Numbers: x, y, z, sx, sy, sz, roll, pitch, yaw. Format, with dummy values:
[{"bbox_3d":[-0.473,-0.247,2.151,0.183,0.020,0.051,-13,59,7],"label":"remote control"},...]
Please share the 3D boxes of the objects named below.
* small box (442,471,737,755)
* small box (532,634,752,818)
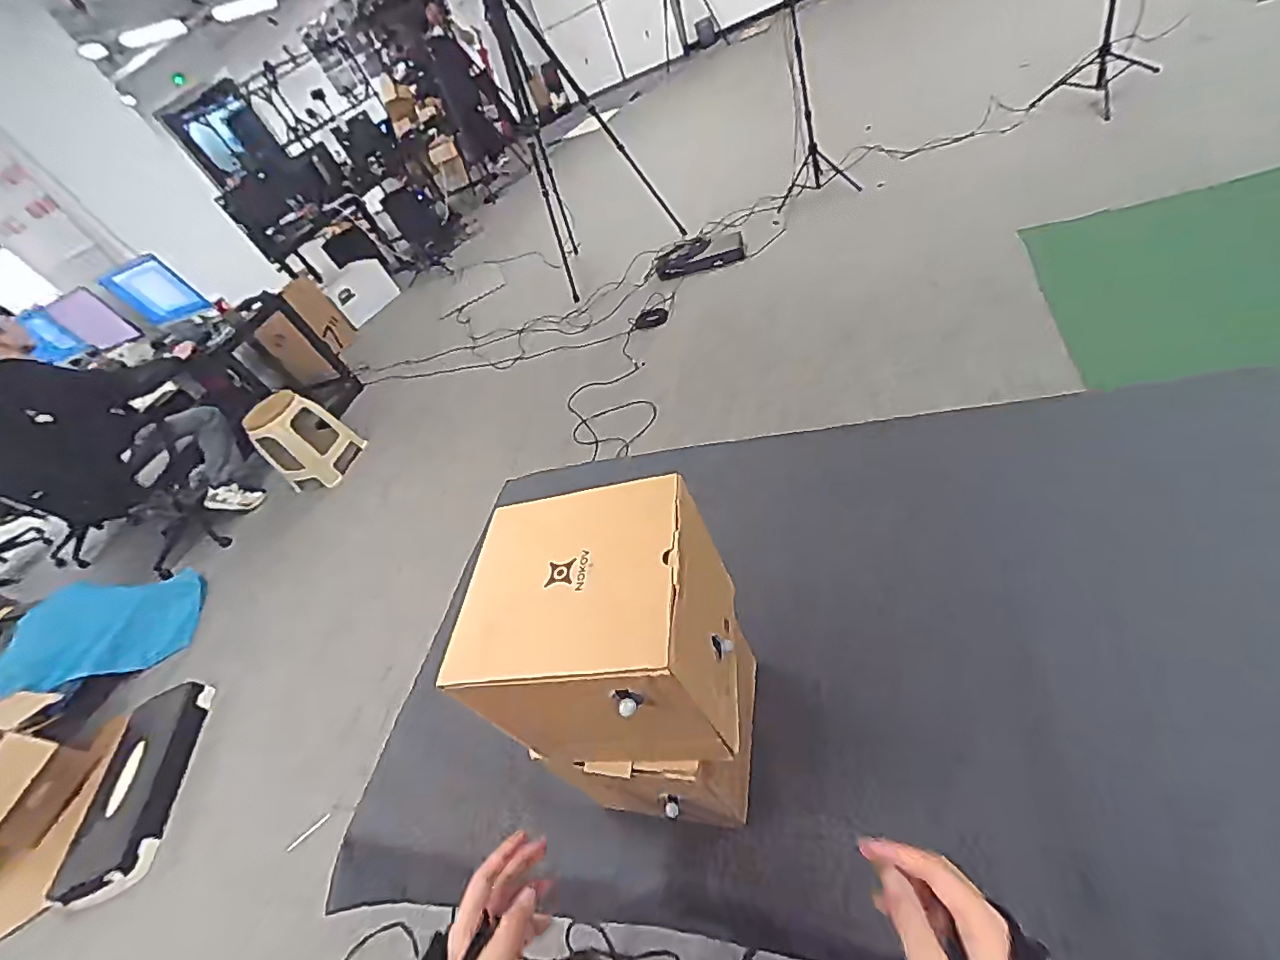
[{"bbox_3d":[-0.024,0.120,0.459,0.179,0.176,0.168,-11,44,17],"label":"small box"},{"bbox_3d":[0.018,0.232,0.570,0.168,0.176,0.179,-5,45,22],"label":"small box"}]
